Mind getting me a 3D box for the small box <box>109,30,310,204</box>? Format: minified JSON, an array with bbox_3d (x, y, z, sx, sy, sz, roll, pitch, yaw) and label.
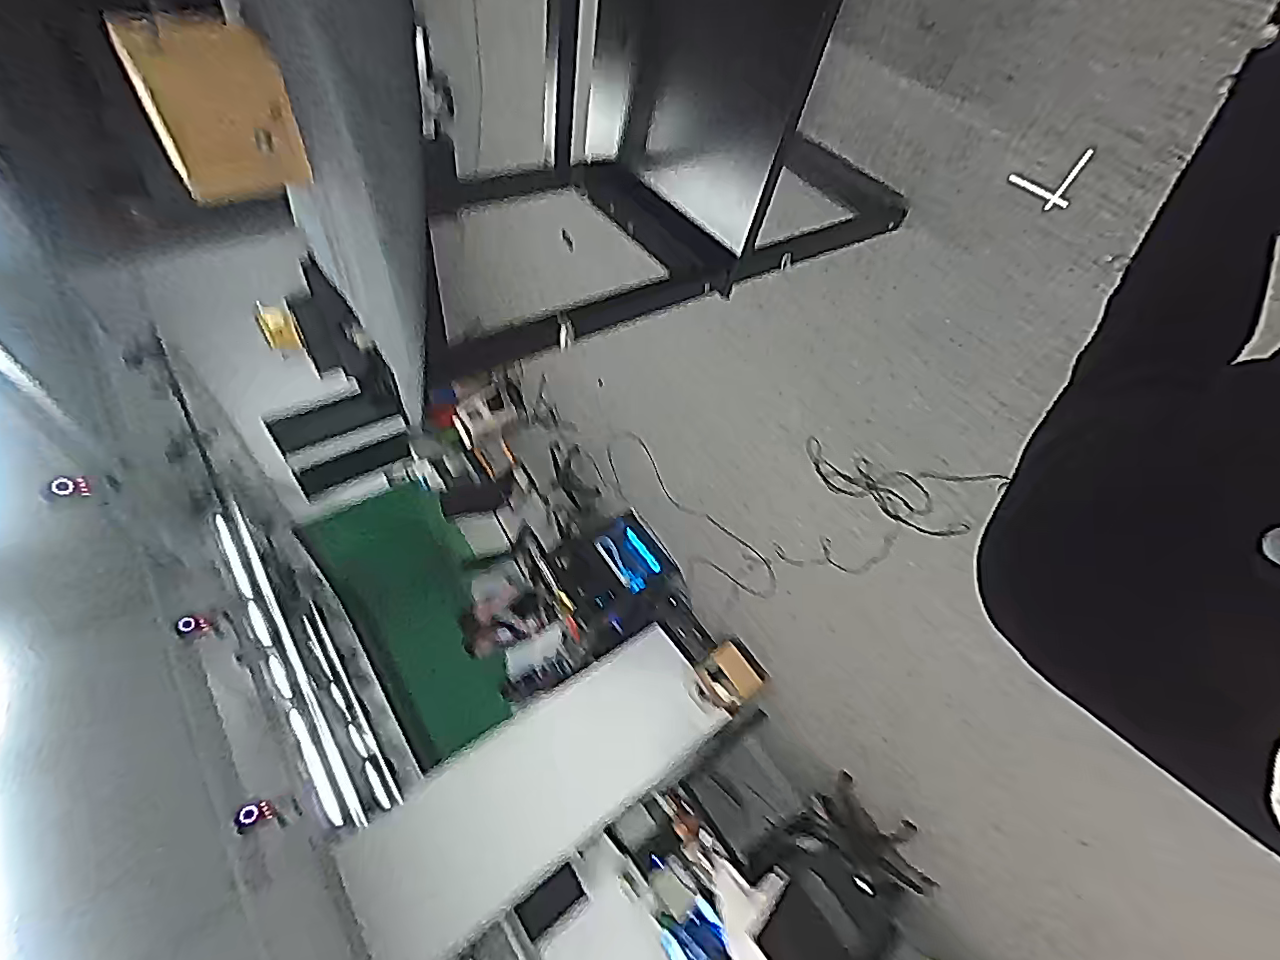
[{"bbox_3d":[-0.632,-0.547,0.812,0.179,0.176,0.168,47,149,25],"label":"small box"}]
